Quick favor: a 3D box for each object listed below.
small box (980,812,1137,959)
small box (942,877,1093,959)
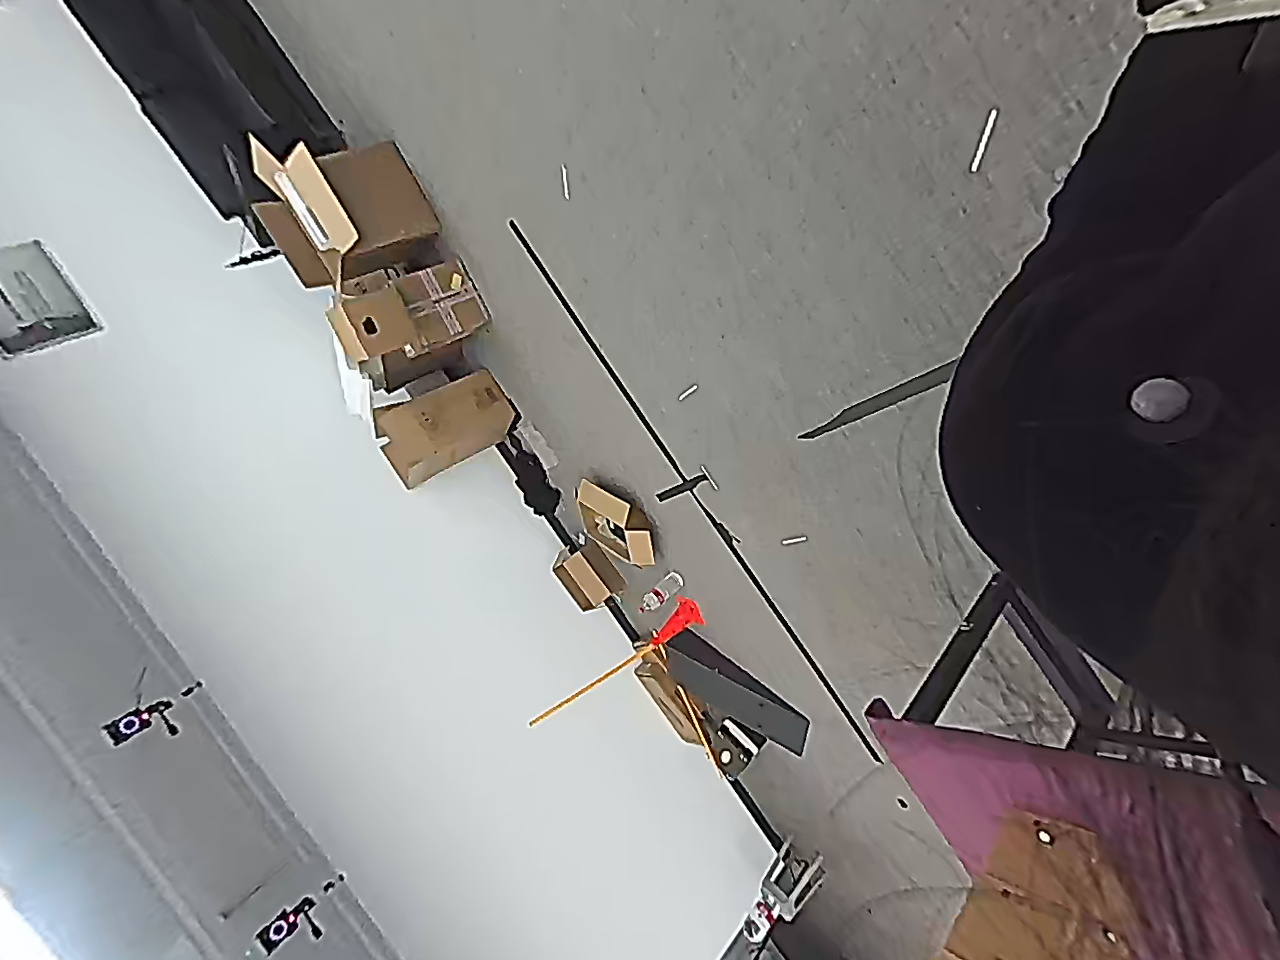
[{"bbox_3d":[0.810,0.796,1.044,0.179,0.176,0.168,58,150,-5],"label":"small box"},{"bbox_3d":[0.690,0.874,0.965,0.179,0.176,0.168,58,150,-7],"label":"small box"}]
